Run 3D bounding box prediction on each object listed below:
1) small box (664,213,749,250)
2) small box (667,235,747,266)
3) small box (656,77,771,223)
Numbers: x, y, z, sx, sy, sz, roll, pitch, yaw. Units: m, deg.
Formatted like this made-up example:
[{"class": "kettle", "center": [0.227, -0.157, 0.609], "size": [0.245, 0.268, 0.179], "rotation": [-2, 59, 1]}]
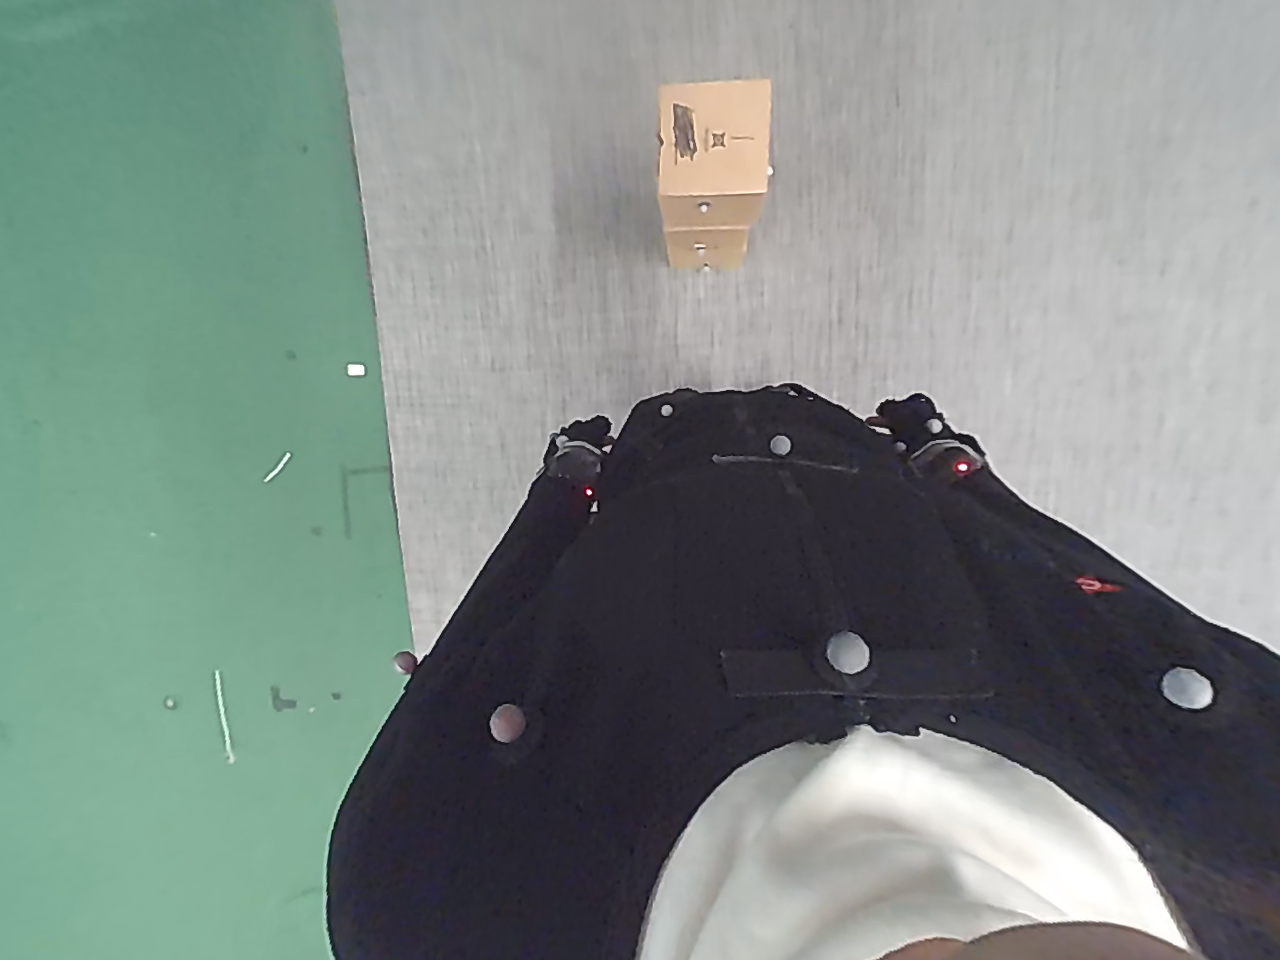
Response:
[{"class": "small box", "center": [0.137, -0.581, 1.095], "size": [0.168, 0.176, 0.179], "rotation": [1, 100, 8]}, {"class": "small box", "center": [0.155, -0.601, 1.255], "size": [0.179, 0.176, 0.168], "rotation": [2, 99, 6]}, {"class": "small box", "center": [0.124, -0.555, 0.932], "size": [0.179, 0.176, 0.168], "rotation": [2, 100, 7]}]
